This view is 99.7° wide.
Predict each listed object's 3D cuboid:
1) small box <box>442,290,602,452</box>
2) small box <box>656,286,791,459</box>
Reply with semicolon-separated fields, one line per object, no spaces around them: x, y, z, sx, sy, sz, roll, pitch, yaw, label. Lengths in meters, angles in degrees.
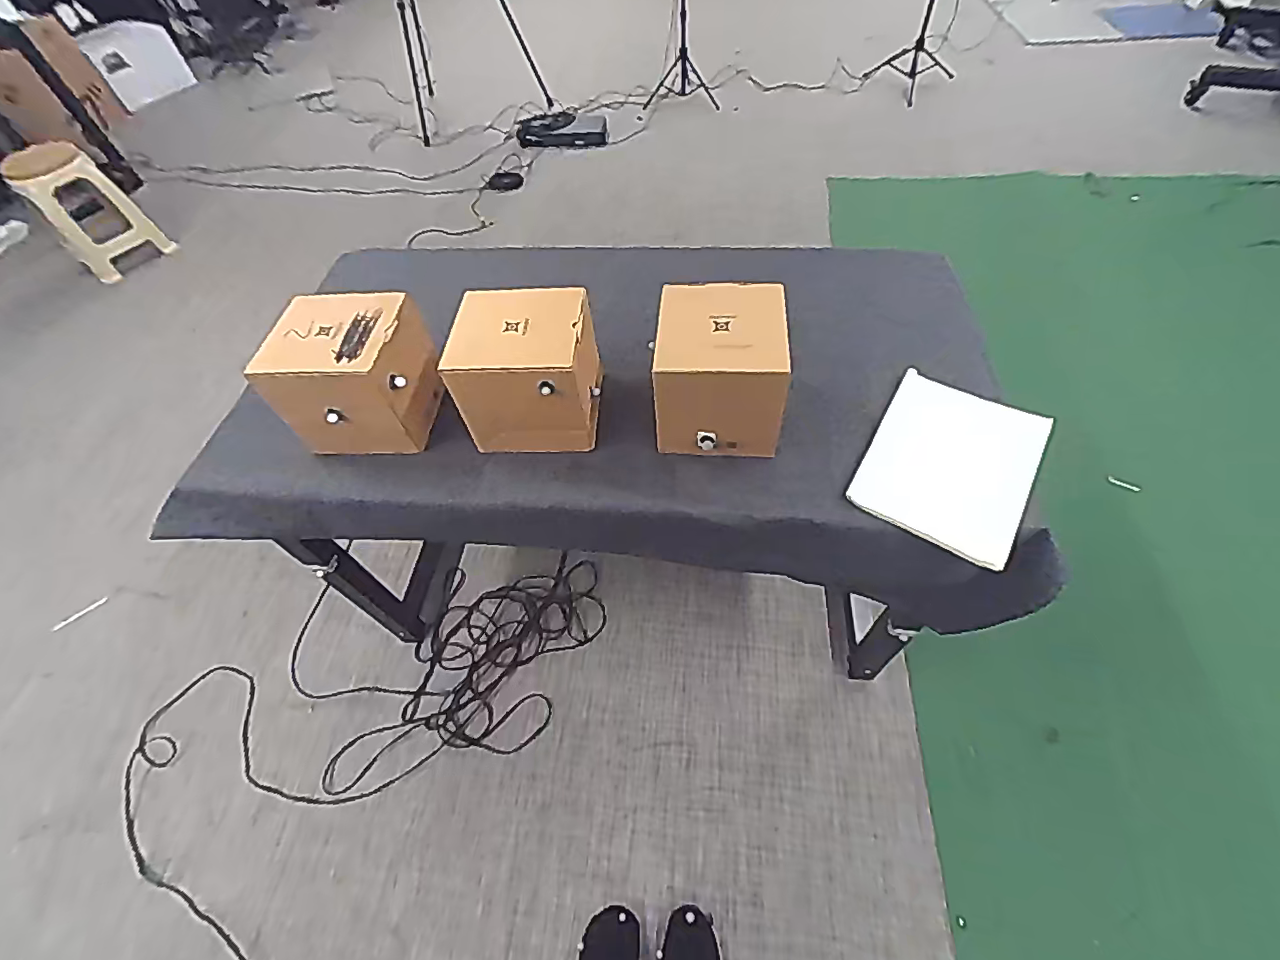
-0.157;-0.153;0.786;0.179;0.176;0.168;-1;54;4;small box
0.113;-0.150;0.760;0.168;0.176;0.179;1;55;7;small box
